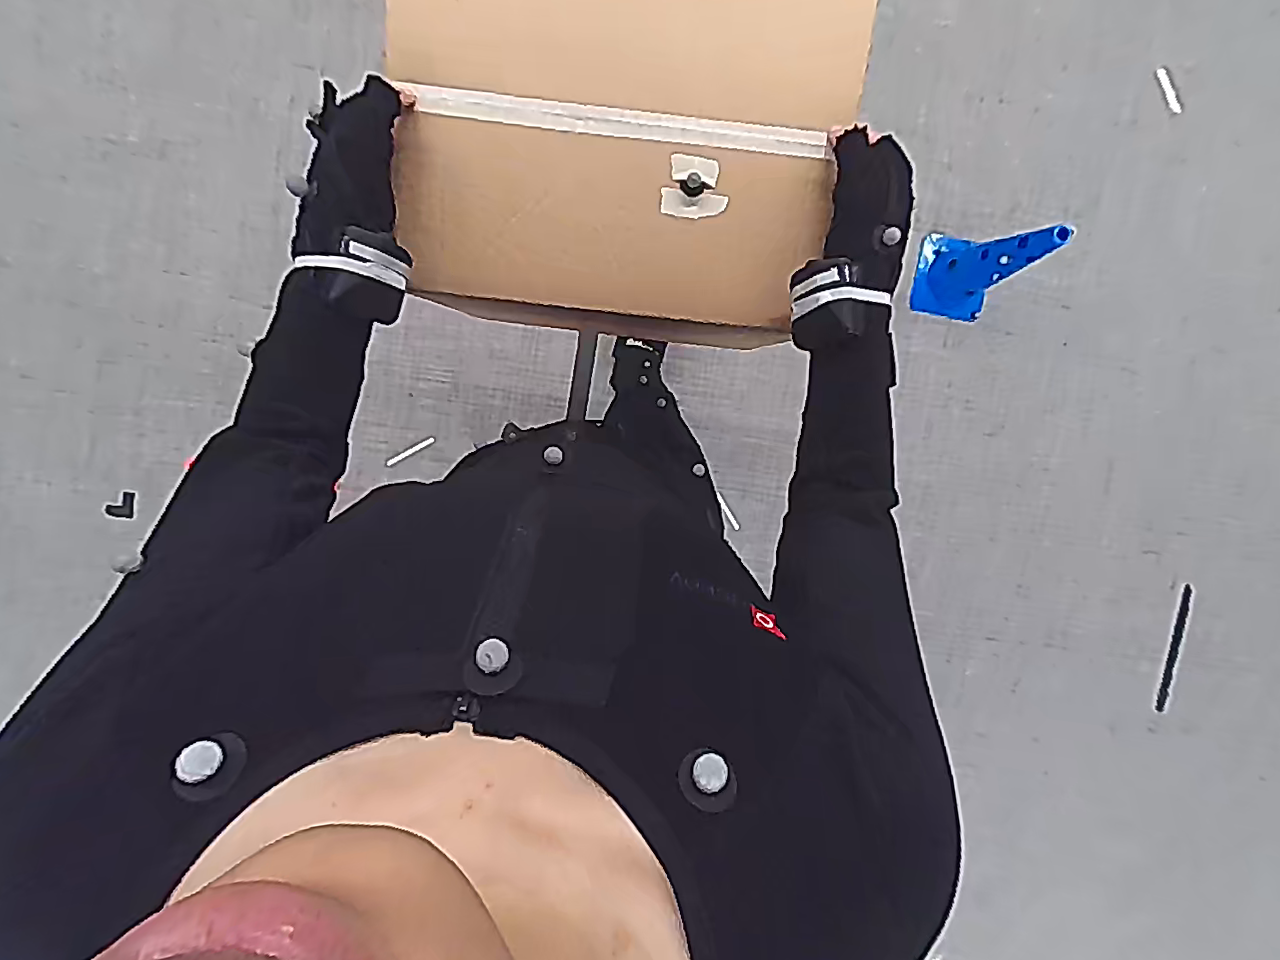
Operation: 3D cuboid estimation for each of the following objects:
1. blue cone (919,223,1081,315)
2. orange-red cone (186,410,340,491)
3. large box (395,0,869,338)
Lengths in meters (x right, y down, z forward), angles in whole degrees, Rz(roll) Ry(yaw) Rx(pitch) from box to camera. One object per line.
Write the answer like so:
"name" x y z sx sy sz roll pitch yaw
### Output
"blue cone" 0.851 -0.524 1.270 0.192 0.380 0.193 11 96 -5
"orange-red cone" -0.875 -0.051 1.233 0.198 0.360 0.199 6 98 -2
"large box" -0.017 -0.347 0.619 0.408 0.320 0.320 6 101 -2
